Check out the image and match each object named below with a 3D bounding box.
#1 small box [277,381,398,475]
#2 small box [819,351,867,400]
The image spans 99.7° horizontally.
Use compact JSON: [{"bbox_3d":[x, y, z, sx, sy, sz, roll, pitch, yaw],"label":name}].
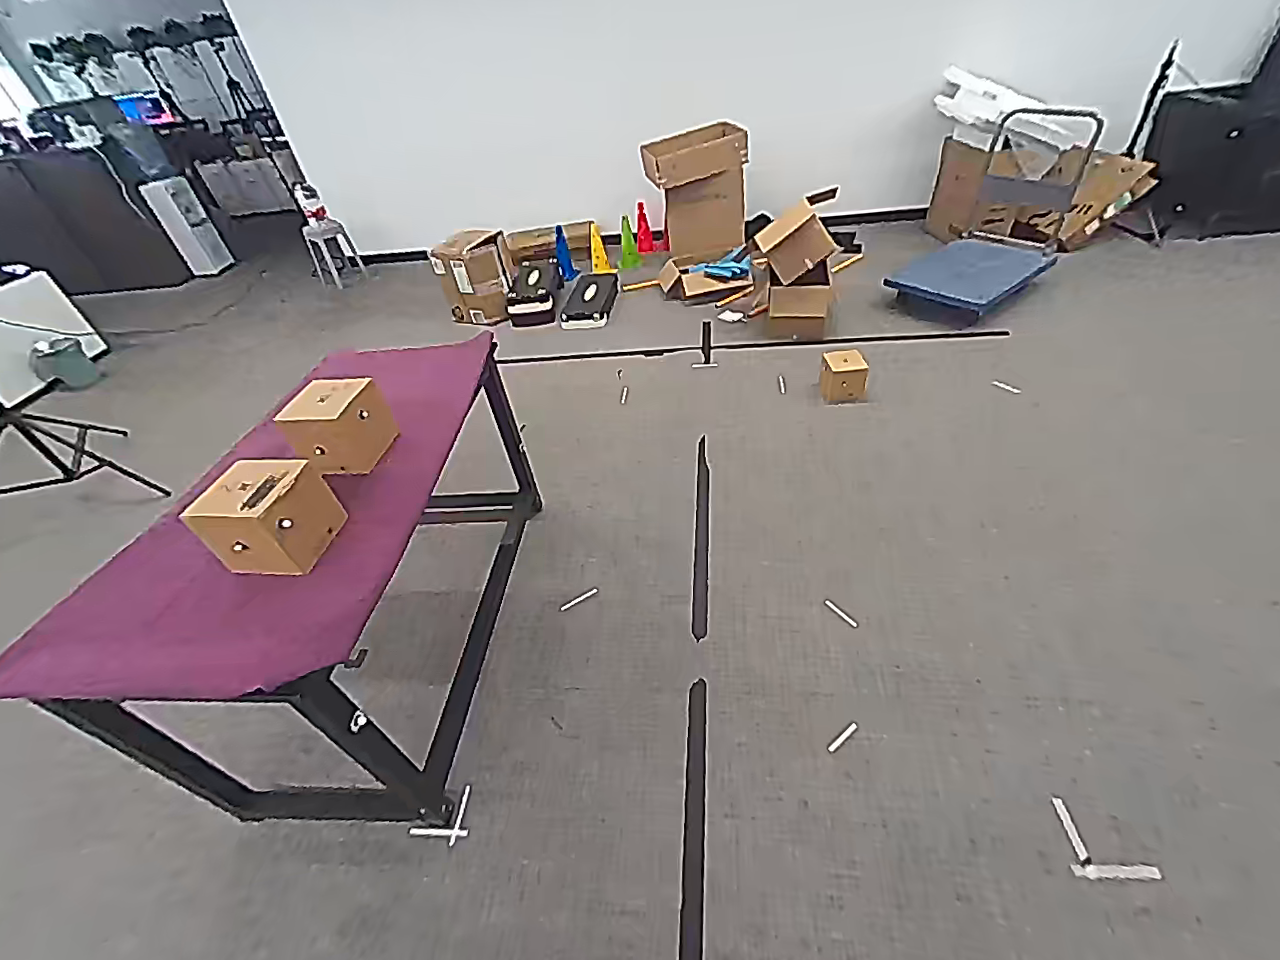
[{"bbox_3d":[-0.729,-0.124,1.330,0.168,0.176,0.179,0,41,9],"label":"small box"},{"bbox_3d":[0.970,-0.494,2.587,0.168,0.176,0.179,-6,41,3],"label":"small box"}]
